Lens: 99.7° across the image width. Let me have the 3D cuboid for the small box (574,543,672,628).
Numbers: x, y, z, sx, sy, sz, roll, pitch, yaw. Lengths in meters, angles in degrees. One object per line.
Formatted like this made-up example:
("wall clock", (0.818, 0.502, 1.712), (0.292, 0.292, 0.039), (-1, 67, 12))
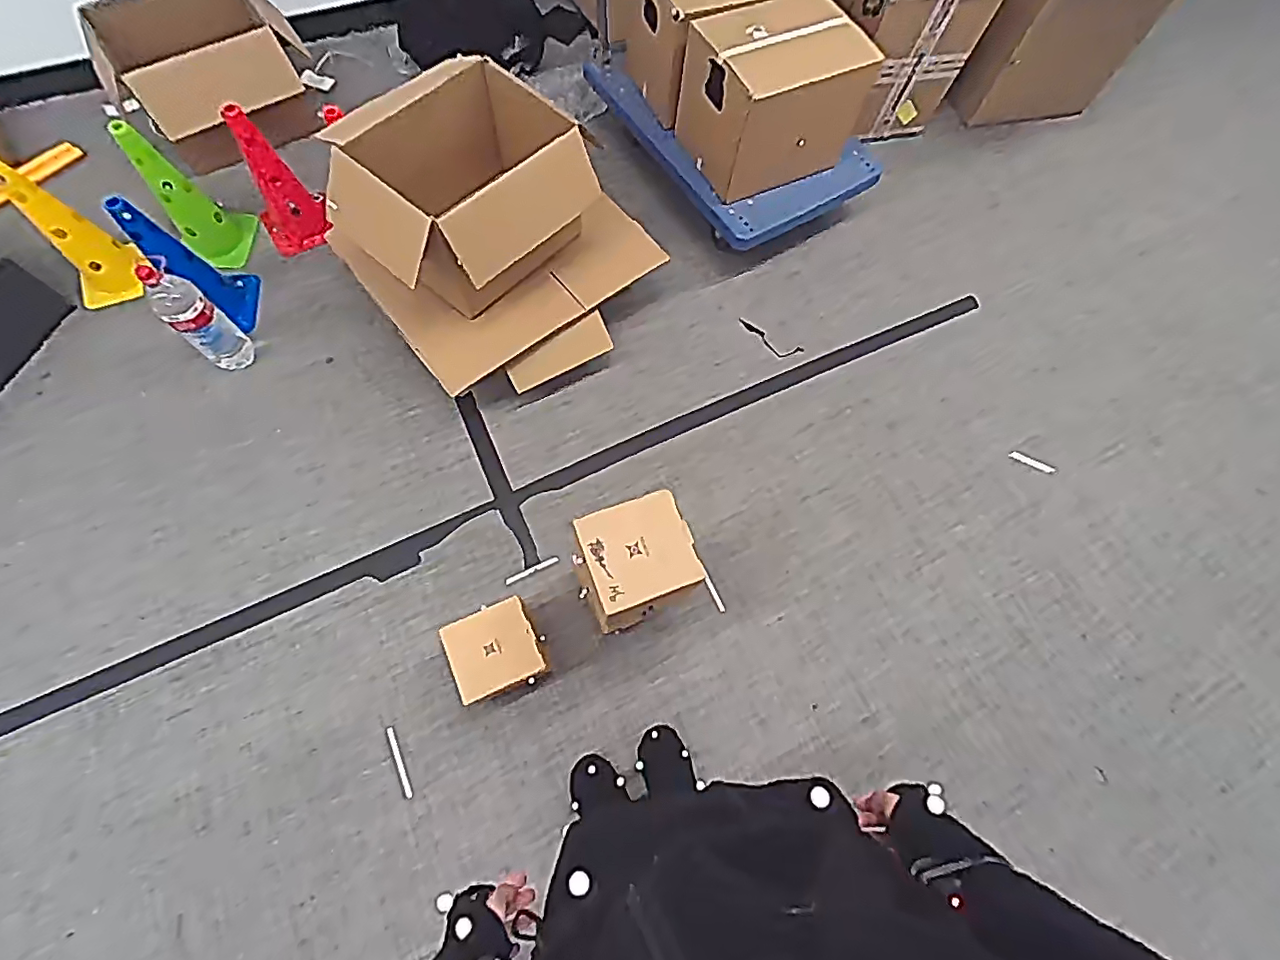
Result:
("small box", (-0.023, 0.189, 1.101), (0.179, 0.176, 0.168), (-21, 74, -13))

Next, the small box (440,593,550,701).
("small box", (-0.311, 0.369, 1.187), (0.179, 0.176, 0.168), (-23, 73, -13))

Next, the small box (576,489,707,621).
("small box", (-0.007, 0.136, 0.946), (0.179, 0.176, 0.168), (-18, 73, -12))

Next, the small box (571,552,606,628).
("small box", (-0.048, 0.233, 1.258), (0.168, 0.176, 0.179), (-24, 73, -13))
